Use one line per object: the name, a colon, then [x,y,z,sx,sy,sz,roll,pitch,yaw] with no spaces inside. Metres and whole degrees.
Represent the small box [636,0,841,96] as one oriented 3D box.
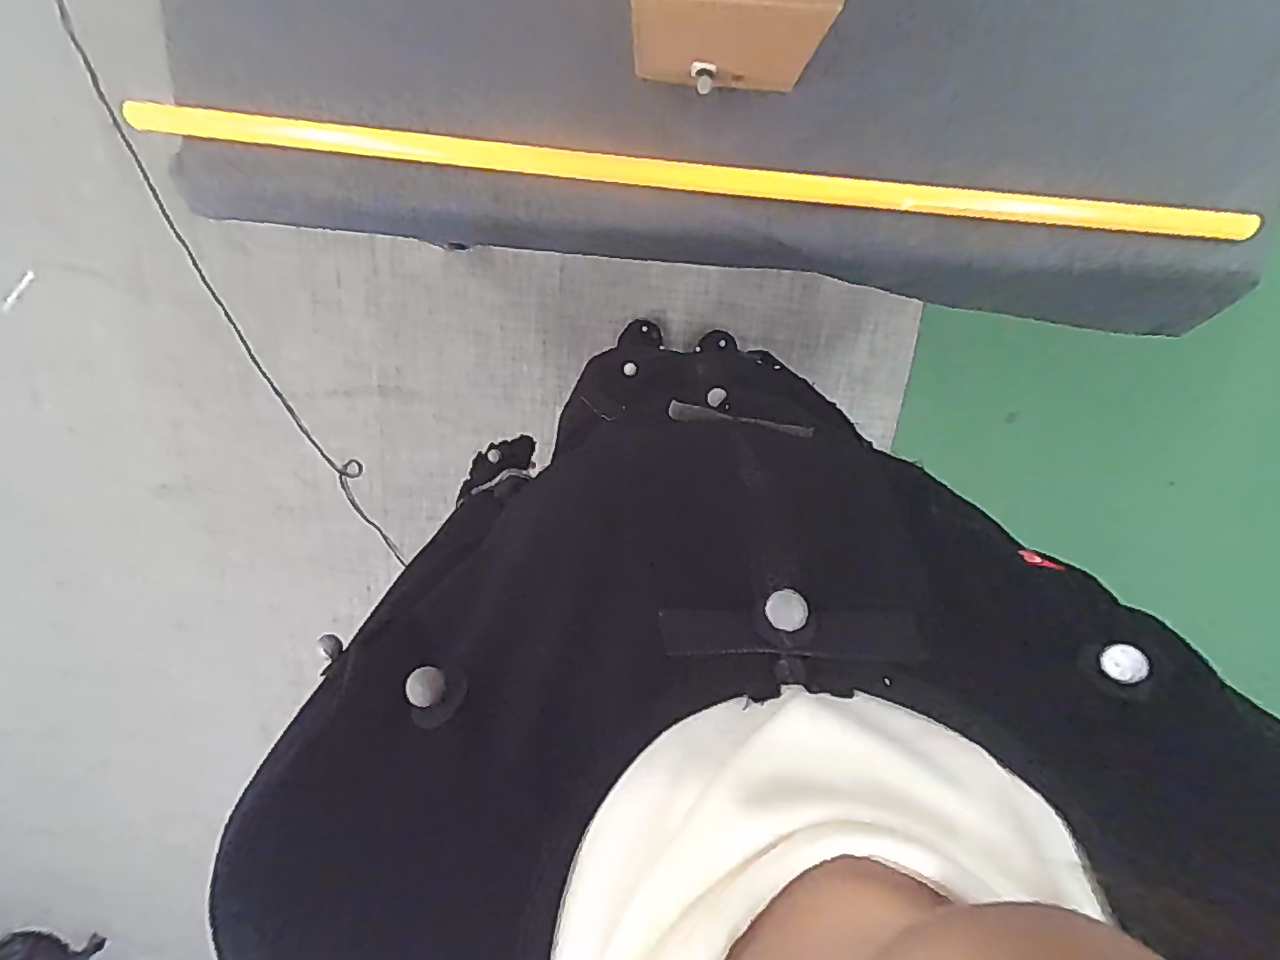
small box: [0.083,-0.476,0.475,0.168,0.176,0.179,4,107,1]
